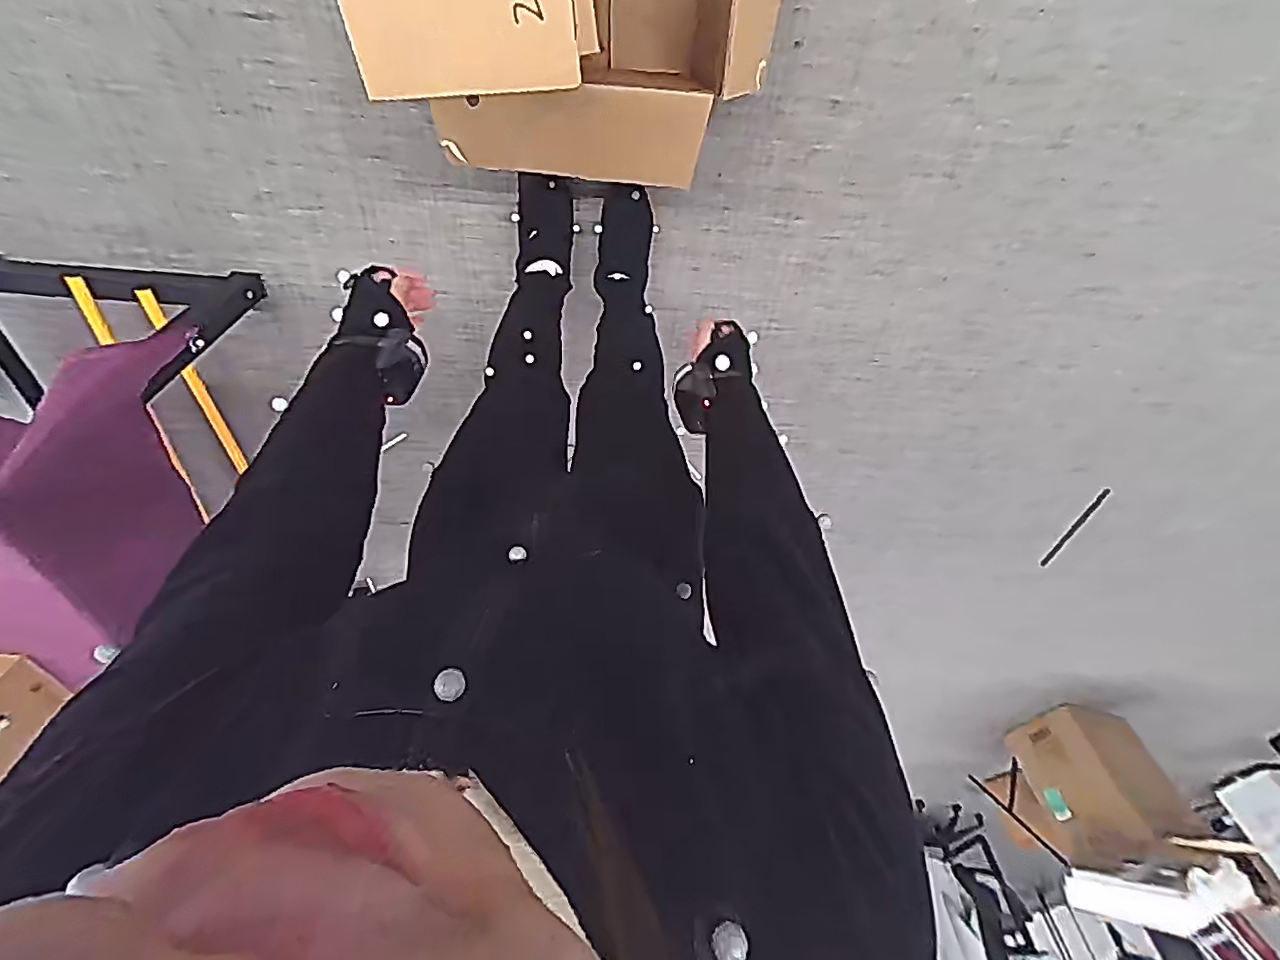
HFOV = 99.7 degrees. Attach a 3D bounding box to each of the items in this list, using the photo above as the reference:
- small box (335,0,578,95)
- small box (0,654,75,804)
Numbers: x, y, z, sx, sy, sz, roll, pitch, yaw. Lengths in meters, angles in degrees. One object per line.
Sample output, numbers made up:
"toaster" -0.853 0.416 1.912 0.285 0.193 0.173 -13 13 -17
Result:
"small box" -0.144 -0.430 0.439 0.179 0.176 0.168 -5 137 -3
"small box" -1.042 0.378 0.827 0.179 0.176 0.168 3 132 -5
